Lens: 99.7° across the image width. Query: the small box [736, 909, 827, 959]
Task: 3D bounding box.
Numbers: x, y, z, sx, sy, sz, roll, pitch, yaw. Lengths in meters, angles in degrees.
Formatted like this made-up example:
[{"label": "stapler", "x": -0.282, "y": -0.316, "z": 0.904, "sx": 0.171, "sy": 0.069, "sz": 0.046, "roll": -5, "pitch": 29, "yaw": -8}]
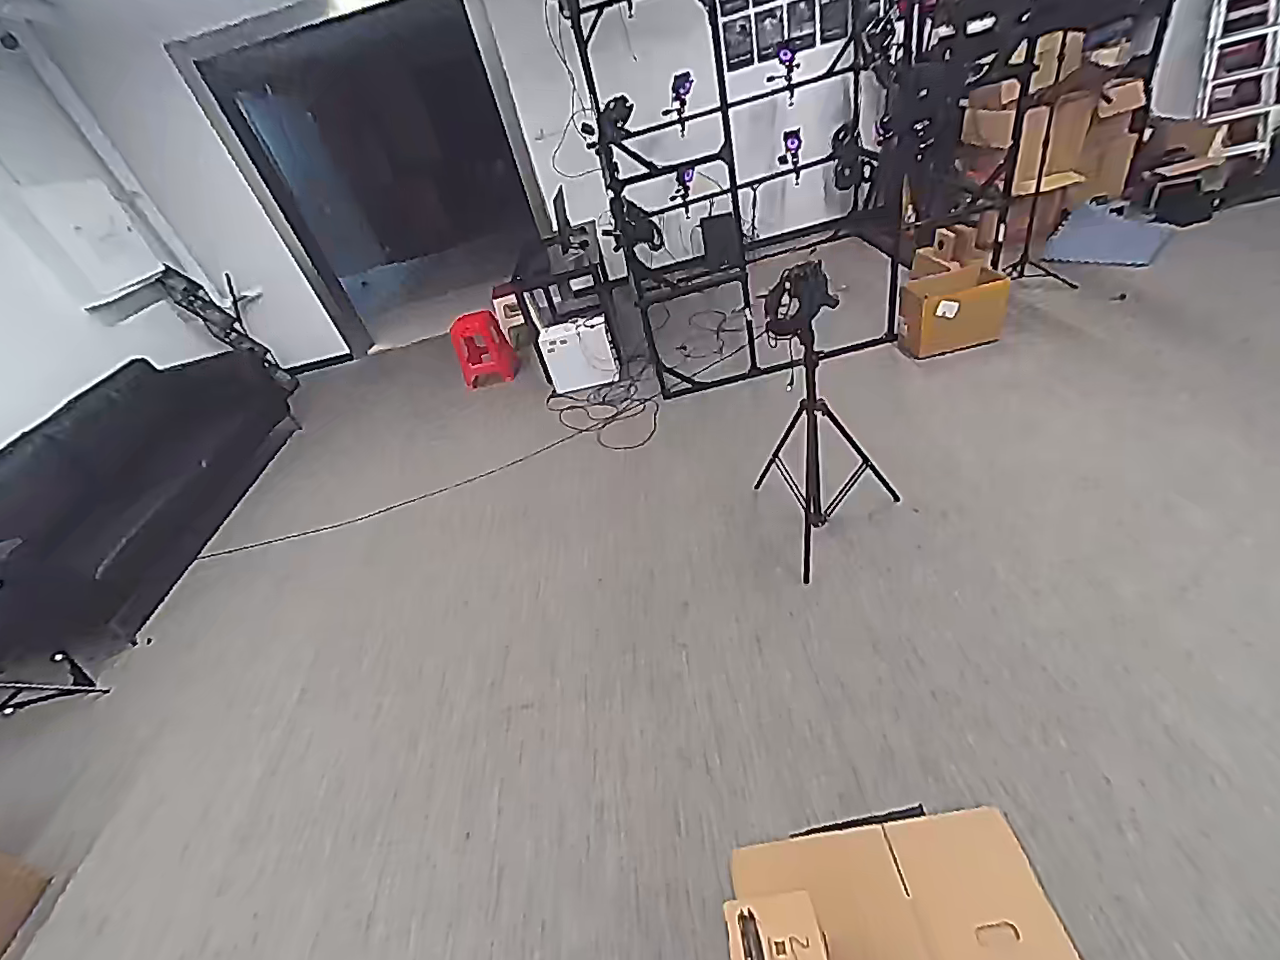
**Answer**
[{"label": "small box", "x": 0.315, "y": 1.055, "z": 1.163, "sx": 0.179, "sy": 0.176, "sz": 0.168, "roll": -14, "pitch": 37, "yaw": 6}]
